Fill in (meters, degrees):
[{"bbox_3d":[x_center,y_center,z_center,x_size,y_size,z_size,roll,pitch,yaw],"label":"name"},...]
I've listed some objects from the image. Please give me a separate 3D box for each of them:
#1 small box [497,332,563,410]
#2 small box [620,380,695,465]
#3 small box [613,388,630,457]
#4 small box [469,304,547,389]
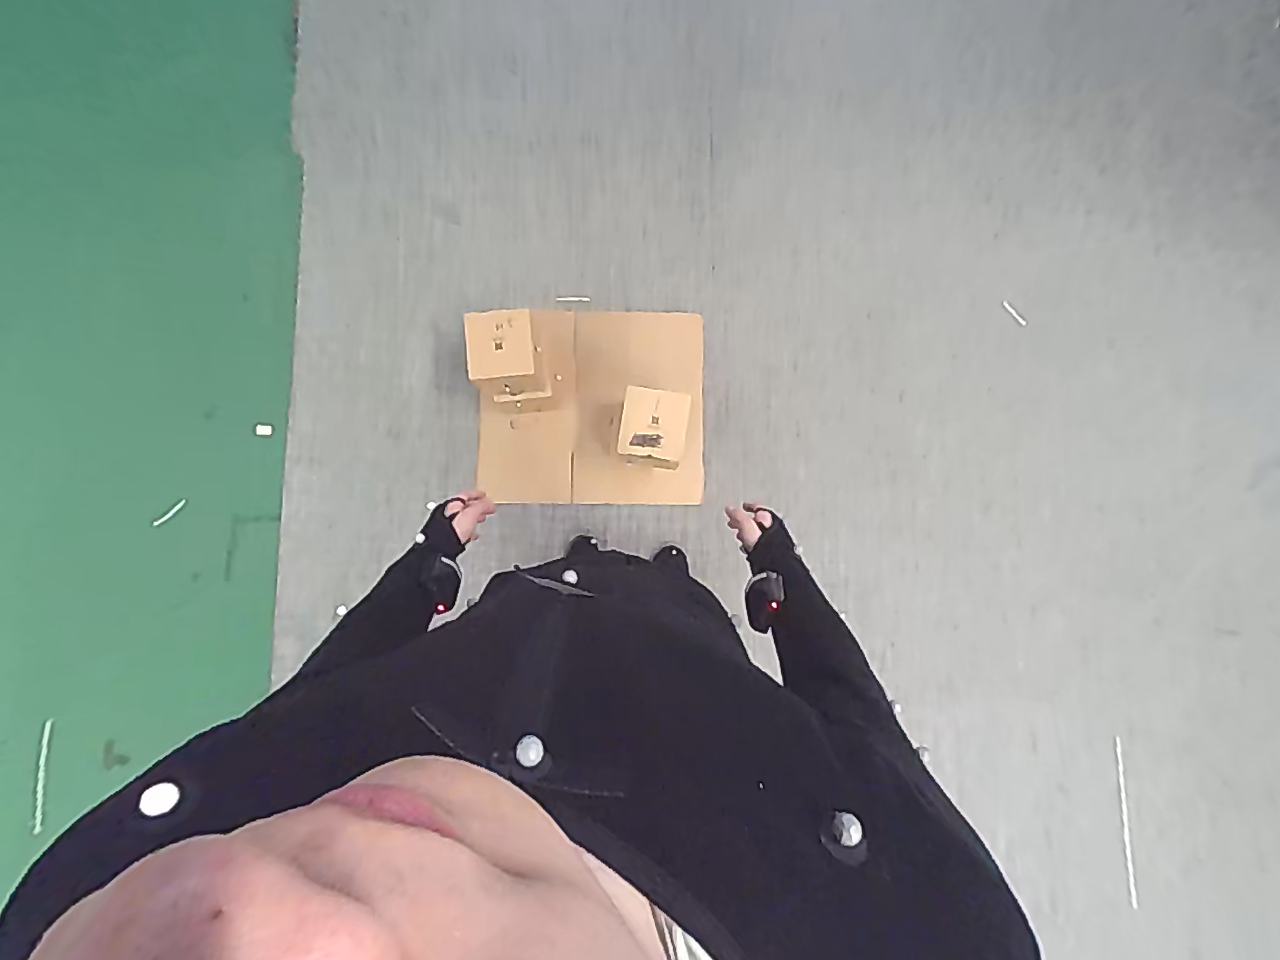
[{"bbox_3d":[-0.325,-0.315,1.592,0.168,0.176,0.179,-6,85,-1],"label":"small box"},{"bbox_3d":[0.044,-0.141,1.411,0.168,0.176,0.179,9,84,0],"label":"small box"},{"bbox_3d":[0.016,-0.155,1.577,0.168,0.176,0.179,5,85,1],"label":"small box"},{"bbox_3d":[-0.343,-0.344,1.428,0.168,0.176,0.179,-5,84,-2],"label":"small box"}]
